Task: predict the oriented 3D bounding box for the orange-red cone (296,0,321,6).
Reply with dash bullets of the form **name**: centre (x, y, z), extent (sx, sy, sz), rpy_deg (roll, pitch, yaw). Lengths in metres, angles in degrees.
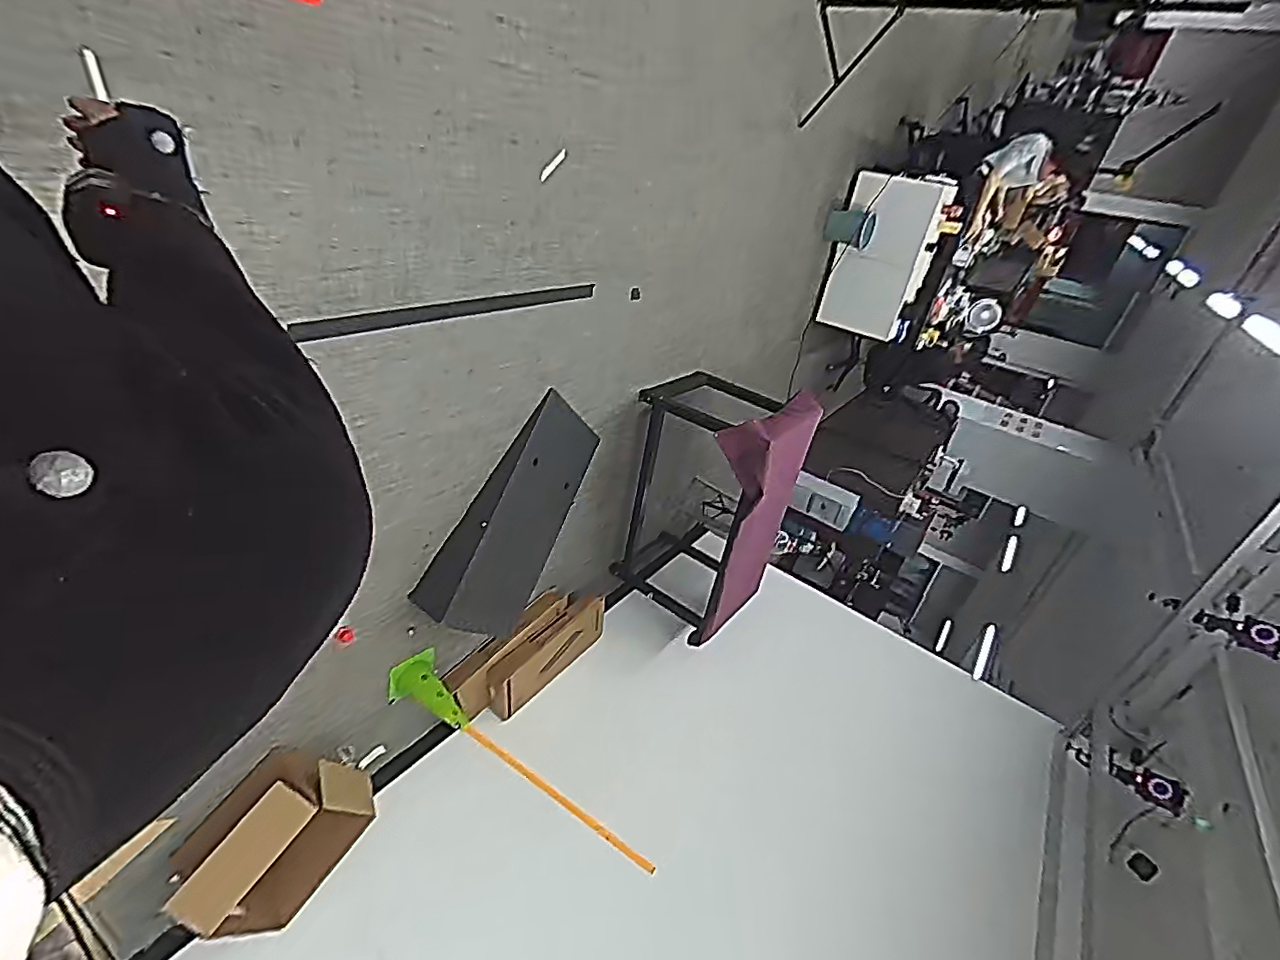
- **orange-red cone**: centre (-0.557, -0.947, 0.908), extent (0.198, 0.360, 0.199), rpy_deg (-25, 136, -48)
